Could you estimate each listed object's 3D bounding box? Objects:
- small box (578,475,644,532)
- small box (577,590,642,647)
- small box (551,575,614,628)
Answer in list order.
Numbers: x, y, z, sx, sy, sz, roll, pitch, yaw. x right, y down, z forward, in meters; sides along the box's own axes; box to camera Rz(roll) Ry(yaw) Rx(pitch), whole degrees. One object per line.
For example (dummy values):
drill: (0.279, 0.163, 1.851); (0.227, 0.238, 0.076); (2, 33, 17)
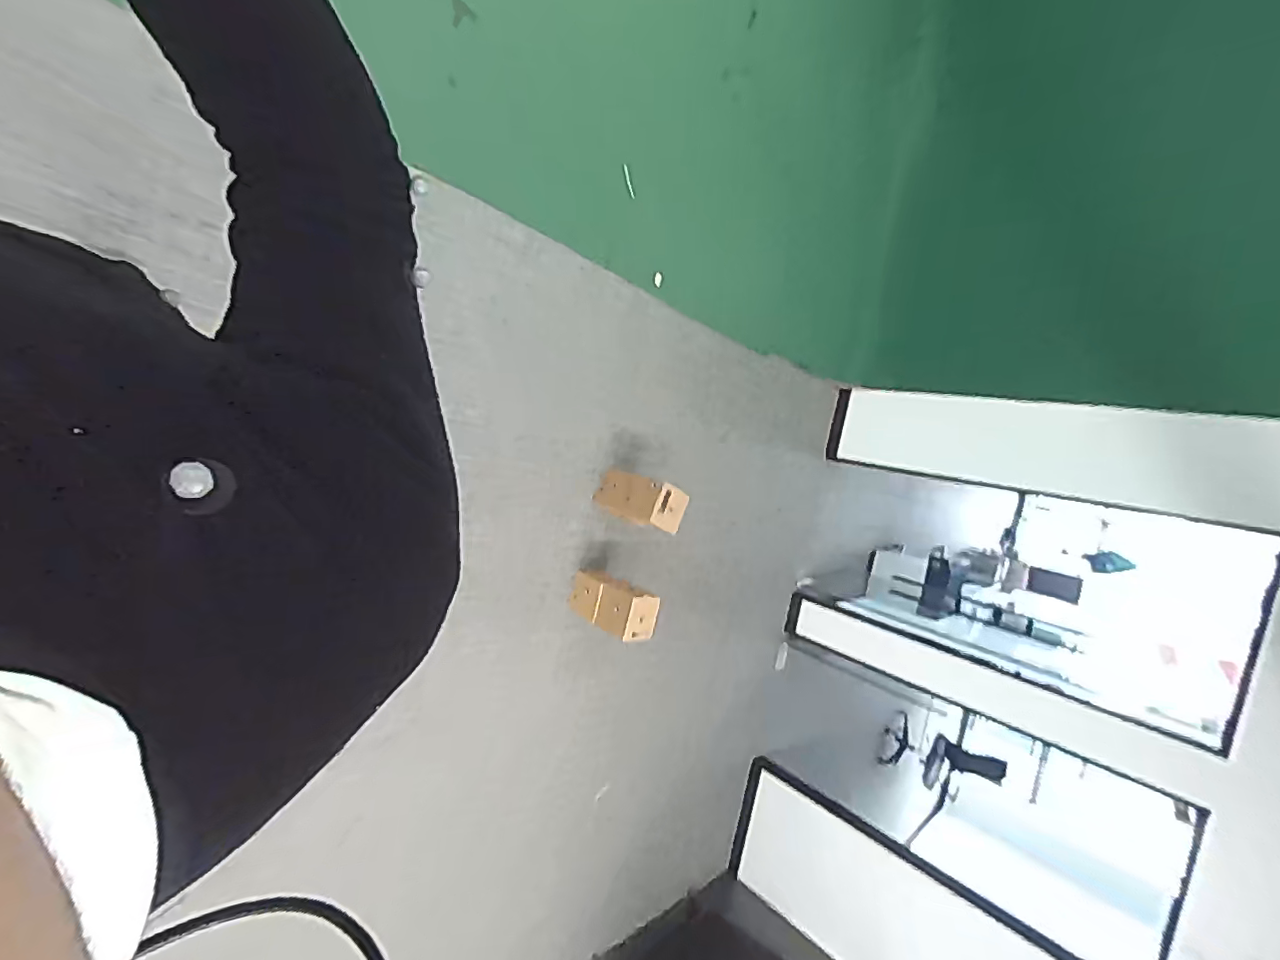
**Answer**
small box: (-0.122, 0.090, 2.219); (0.179, 0.176, 0.168); (41, 72, -46)
small box: (-0.122, 0.536, 2.115); (0.168, 0.176, 0.179); (14, 91, -48)
small box: (-0.240, 0.496, 2.222); (0.179, 0.176, 0.168); (11, 93, -48)
